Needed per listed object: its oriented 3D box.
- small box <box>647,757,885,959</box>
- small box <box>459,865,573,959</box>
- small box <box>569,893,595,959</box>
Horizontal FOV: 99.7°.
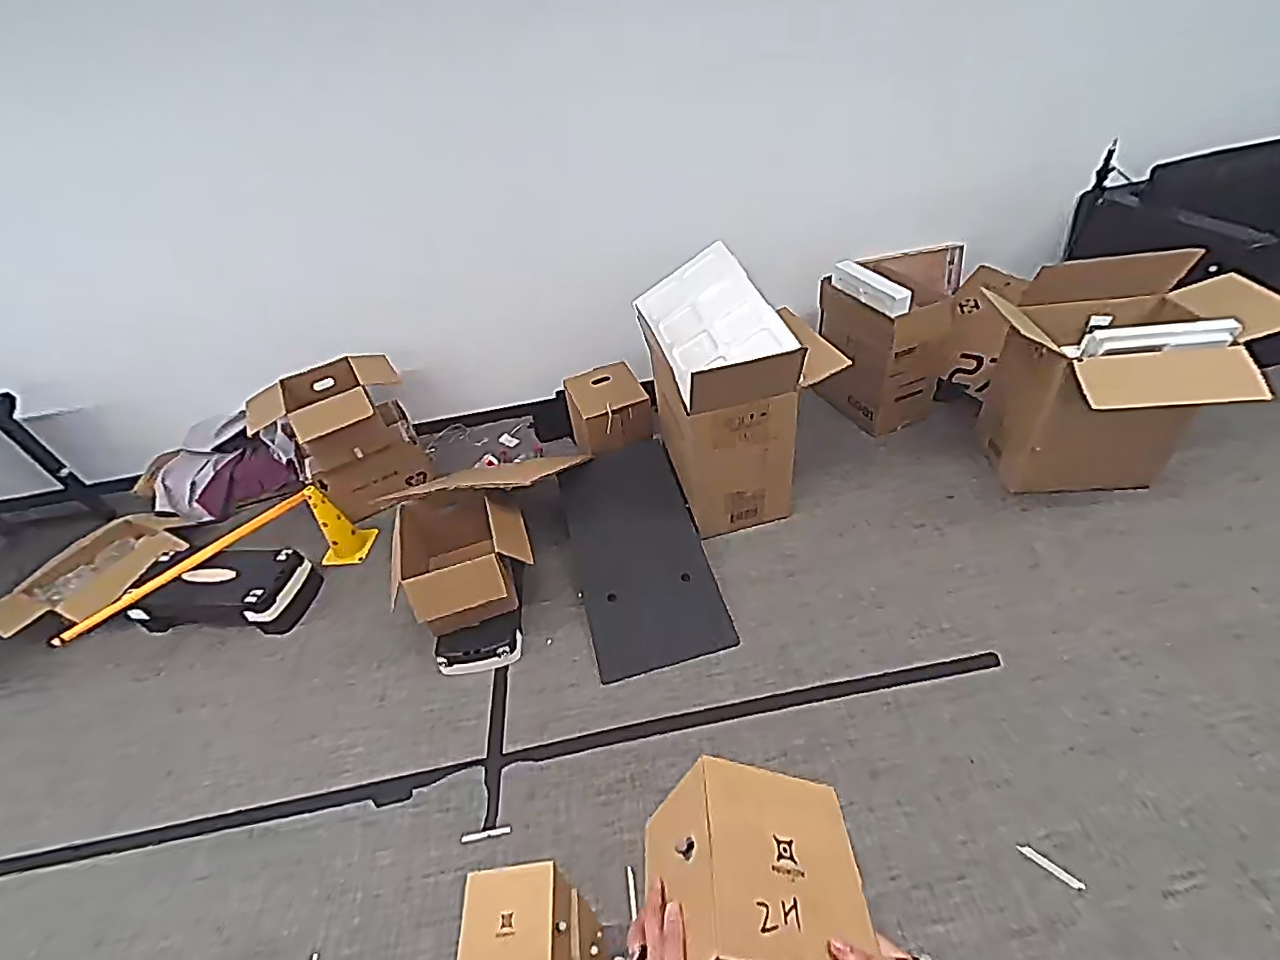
[{"bbox_3d":[0.112,0.428,0.554,0.168,0.176,0.179,18,31,-9],"label":"small box"},{"bbox_3d":[-0.220,0.843,0.990,0.168,0.176,0.179,-9,41,0],"label":"small box"},{"bbox_3d":[-0.190,0.968,1.089,0.179,0.176,0.168,-9,40,-2],"label":"small box"}]
